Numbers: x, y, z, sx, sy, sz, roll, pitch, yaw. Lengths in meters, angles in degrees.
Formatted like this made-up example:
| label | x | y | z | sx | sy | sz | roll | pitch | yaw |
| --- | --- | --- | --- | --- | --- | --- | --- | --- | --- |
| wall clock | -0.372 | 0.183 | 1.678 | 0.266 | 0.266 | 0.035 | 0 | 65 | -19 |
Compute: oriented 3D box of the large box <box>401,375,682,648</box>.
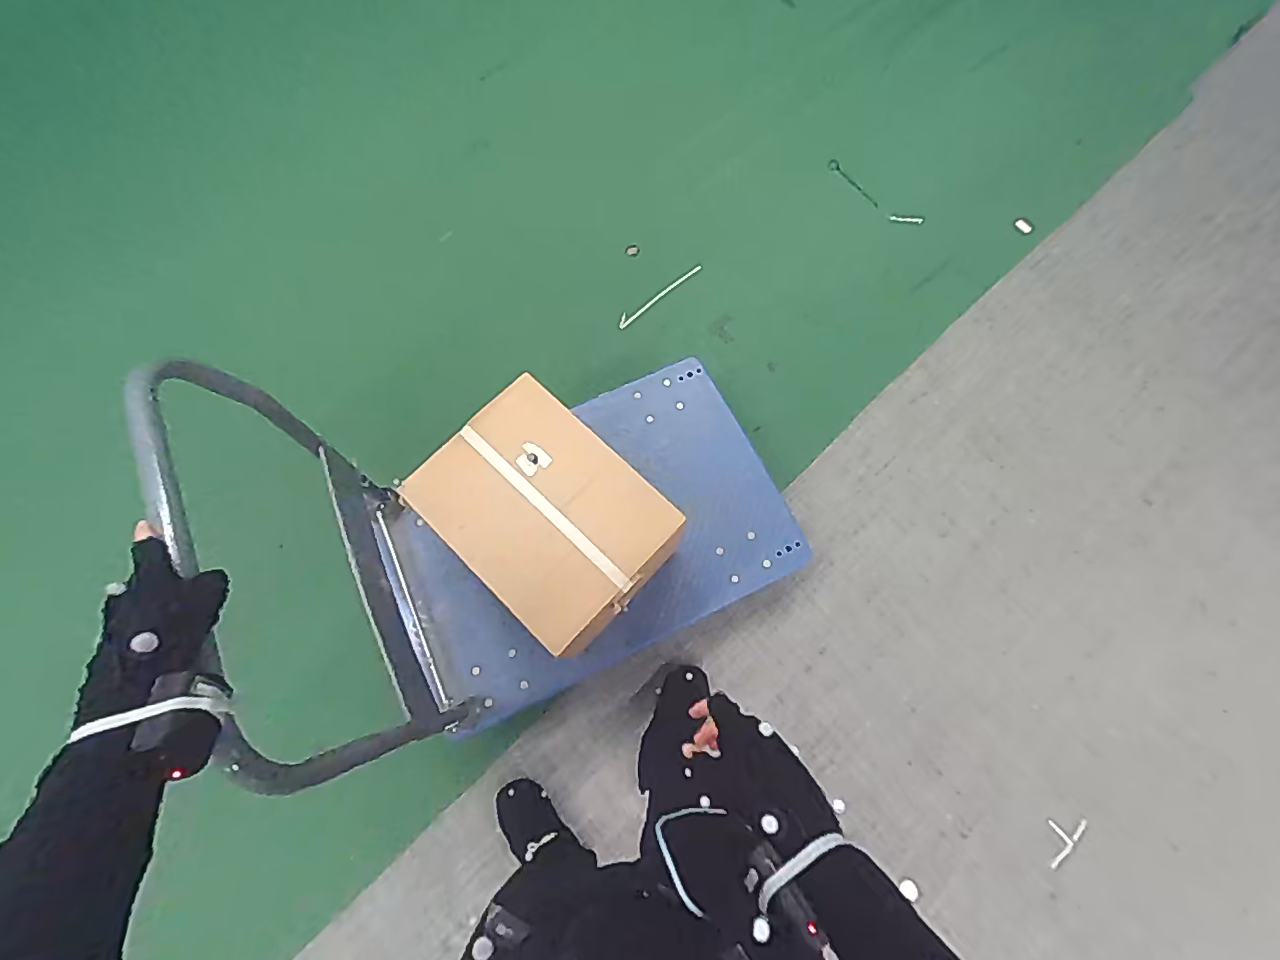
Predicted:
| label | x | y | z | sx | sy | sz | roll | pitch | yaw |
| --- | --- | --- | --- | --- | --- | --- | --- | --- | --- |
| large box | -0.167 | 0.079 | 1.072 | 0.408 | 0.320 | 0.320 | 43 | 78 | 13 |
